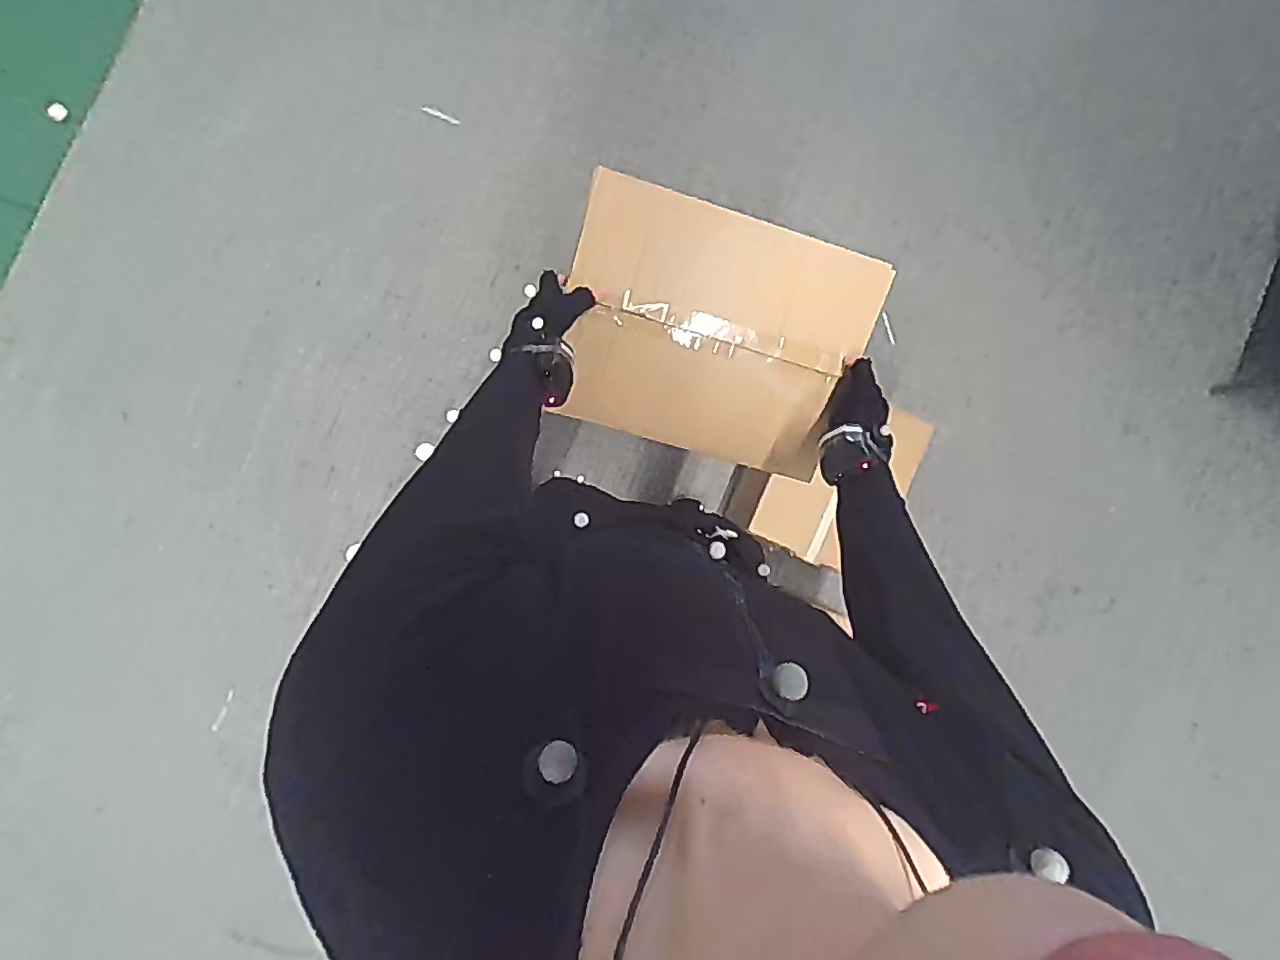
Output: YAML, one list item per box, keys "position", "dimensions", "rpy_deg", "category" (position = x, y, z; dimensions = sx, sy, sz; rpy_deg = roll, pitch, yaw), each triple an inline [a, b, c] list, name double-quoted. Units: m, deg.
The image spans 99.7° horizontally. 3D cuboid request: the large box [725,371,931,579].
- position: [0.454, -0.004, 1.384]
  dimensions: [0.320, 0.320, 0.408]
  rpy_deg: [24, 87, -2]
  category: "large box"
